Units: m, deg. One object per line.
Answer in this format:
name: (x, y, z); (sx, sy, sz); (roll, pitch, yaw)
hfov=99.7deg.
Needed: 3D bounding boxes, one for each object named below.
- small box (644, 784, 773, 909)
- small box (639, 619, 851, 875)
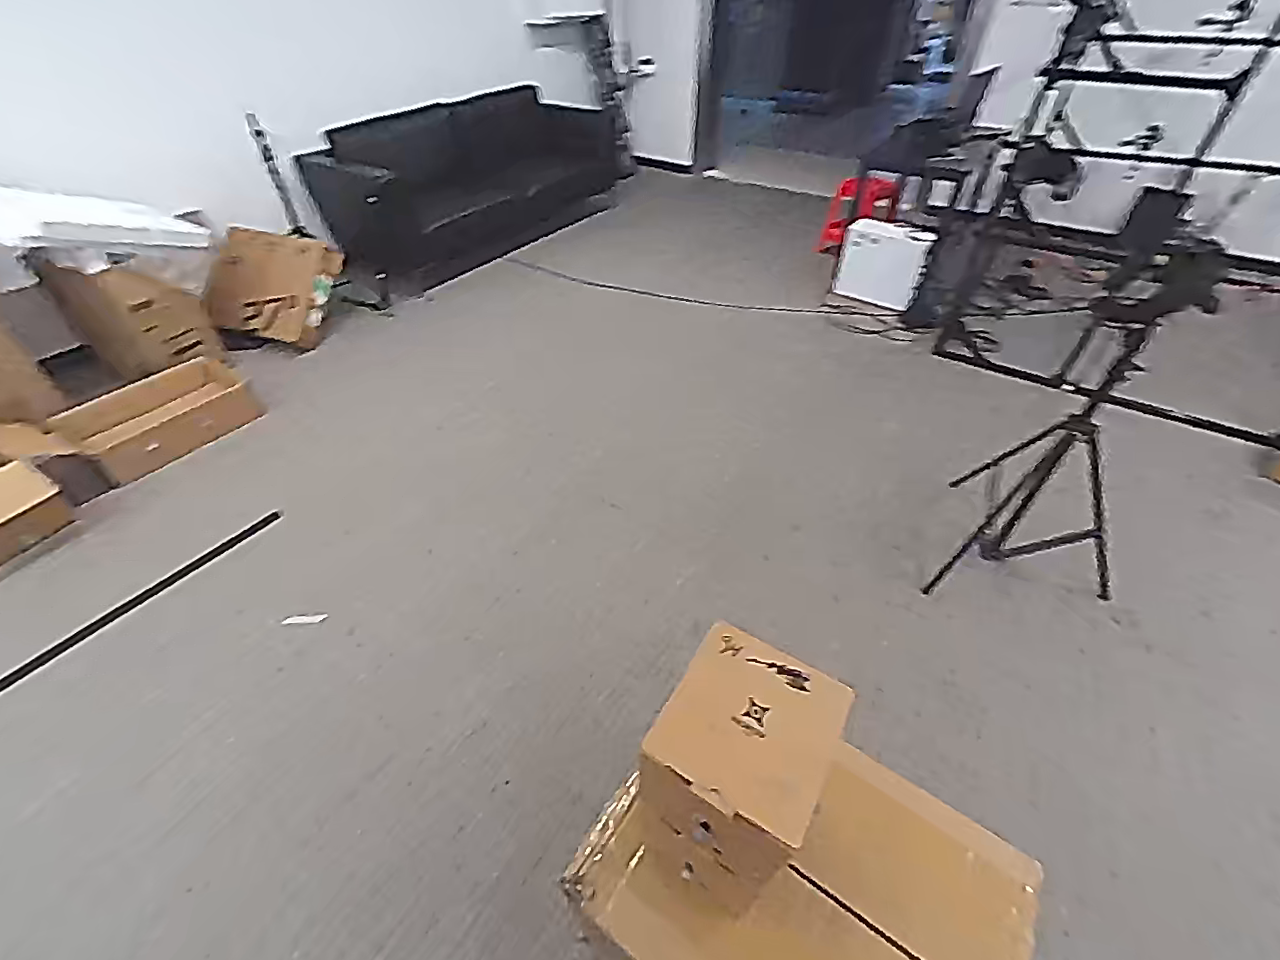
small box: (0.116, 0.421, 0.723); (0.168, 0.176, 0.179); (25, 49, 24)
small box: (0.115, 0.301, 0.612); (0.168, 0.176, 0.179); (24, 49, 23)
